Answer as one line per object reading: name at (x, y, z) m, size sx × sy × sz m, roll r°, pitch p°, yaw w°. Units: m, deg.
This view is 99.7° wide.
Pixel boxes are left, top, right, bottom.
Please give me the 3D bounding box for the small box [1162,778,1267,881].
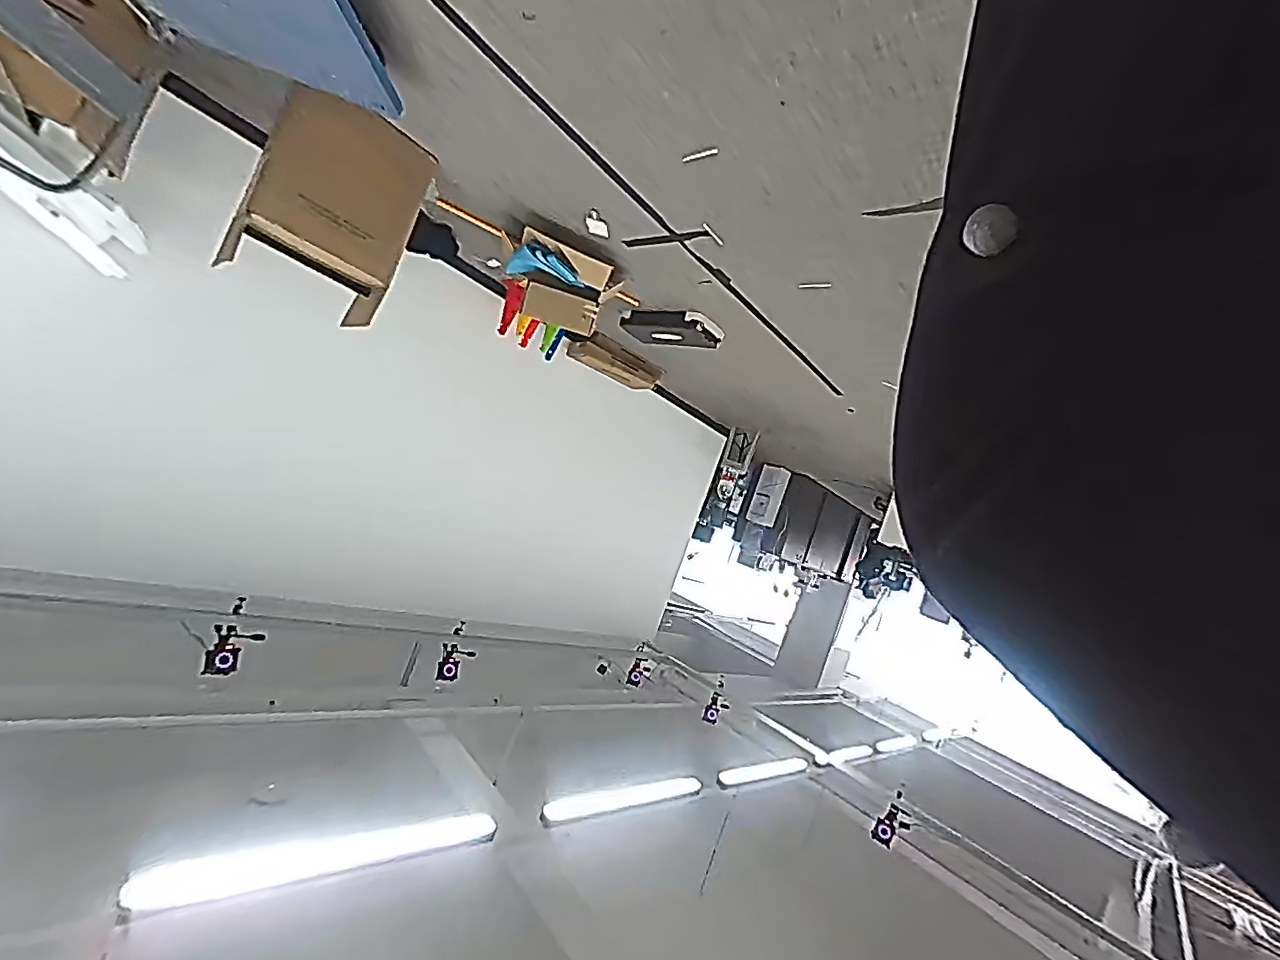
small box at (1.576, 0.959, 1.491) m, size 0.168 × 0.176 × 0.179 m, roll 17°, pitch 175°, yaw 44°
